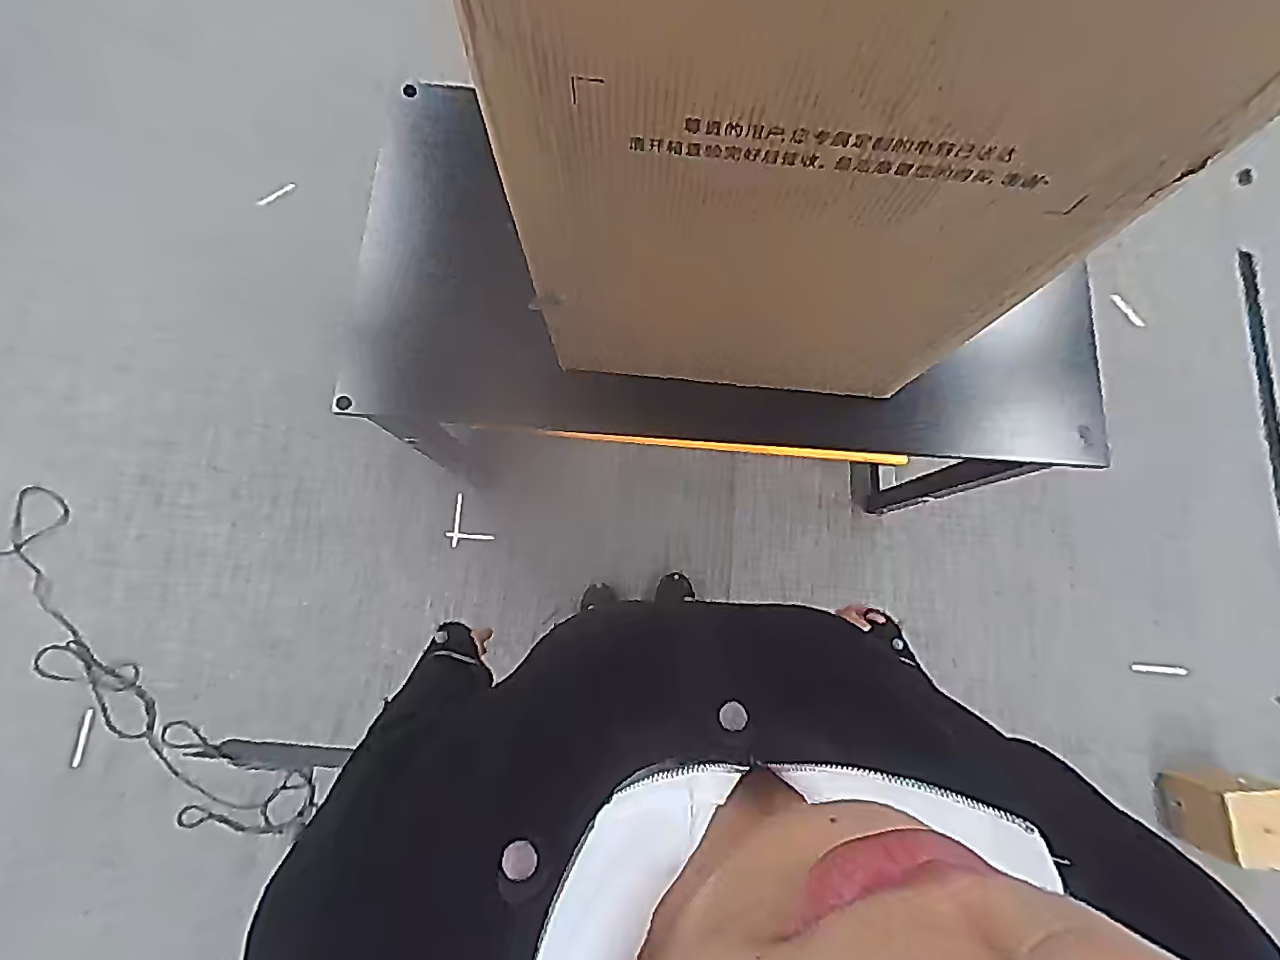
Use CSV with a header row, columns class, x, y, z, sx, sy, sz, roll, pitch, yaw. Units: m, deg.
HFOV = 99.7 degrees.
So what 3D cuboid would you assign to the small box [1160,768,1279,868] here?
class,x,y,z,sx,sy,sz,roll,pitch,yaw
small box,1.482,0.839,1.357,0.179,0.176,0.168,-3,79,-1
